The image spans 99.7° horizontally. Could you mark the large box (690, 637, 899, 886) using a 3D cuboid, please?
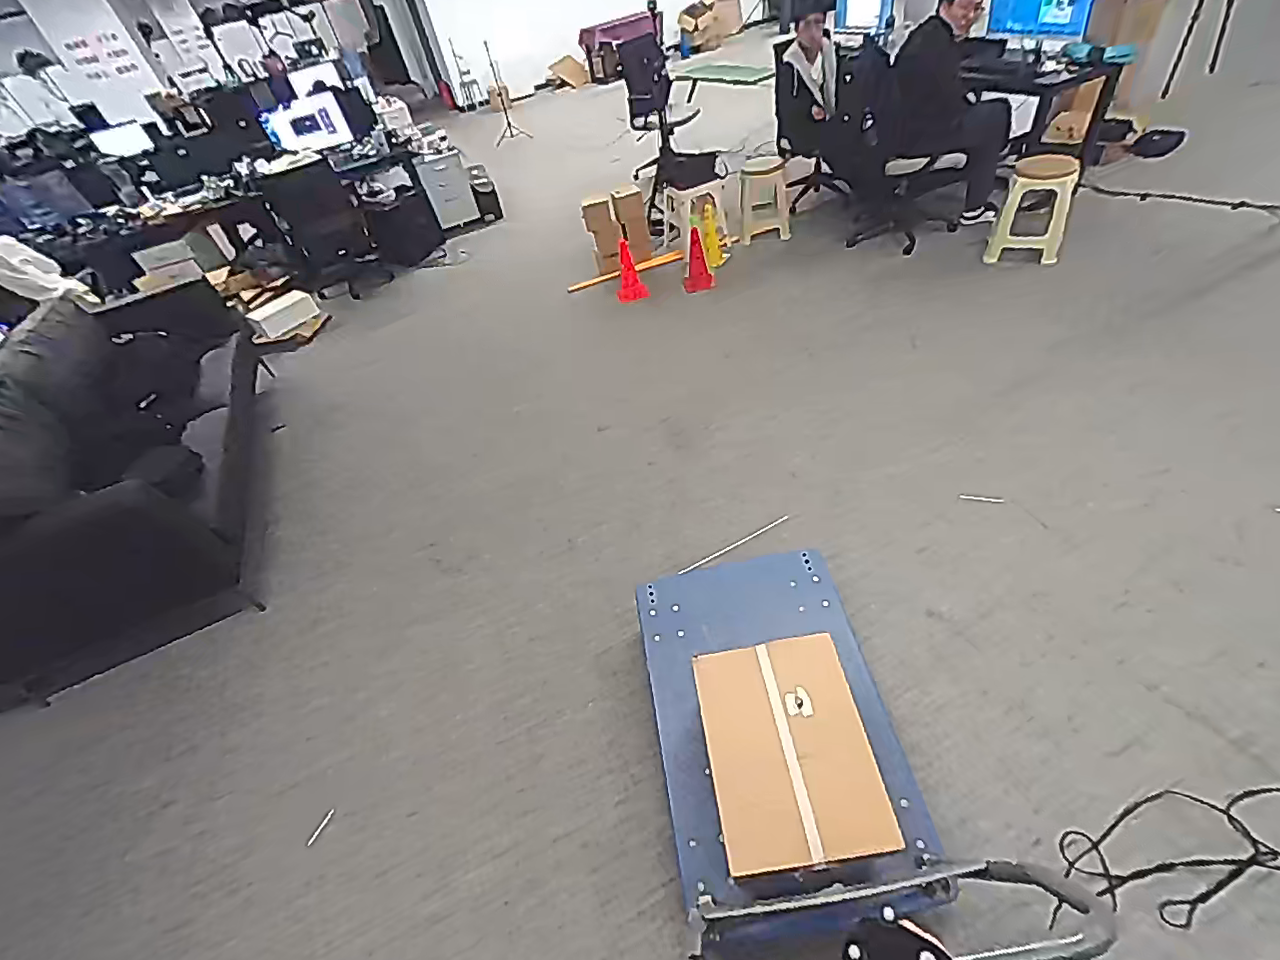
[{"bbox_3d":[0.311,0.622,1.198,0.320,0.320,0.408,-11,50,2],"label":"large box"}]
